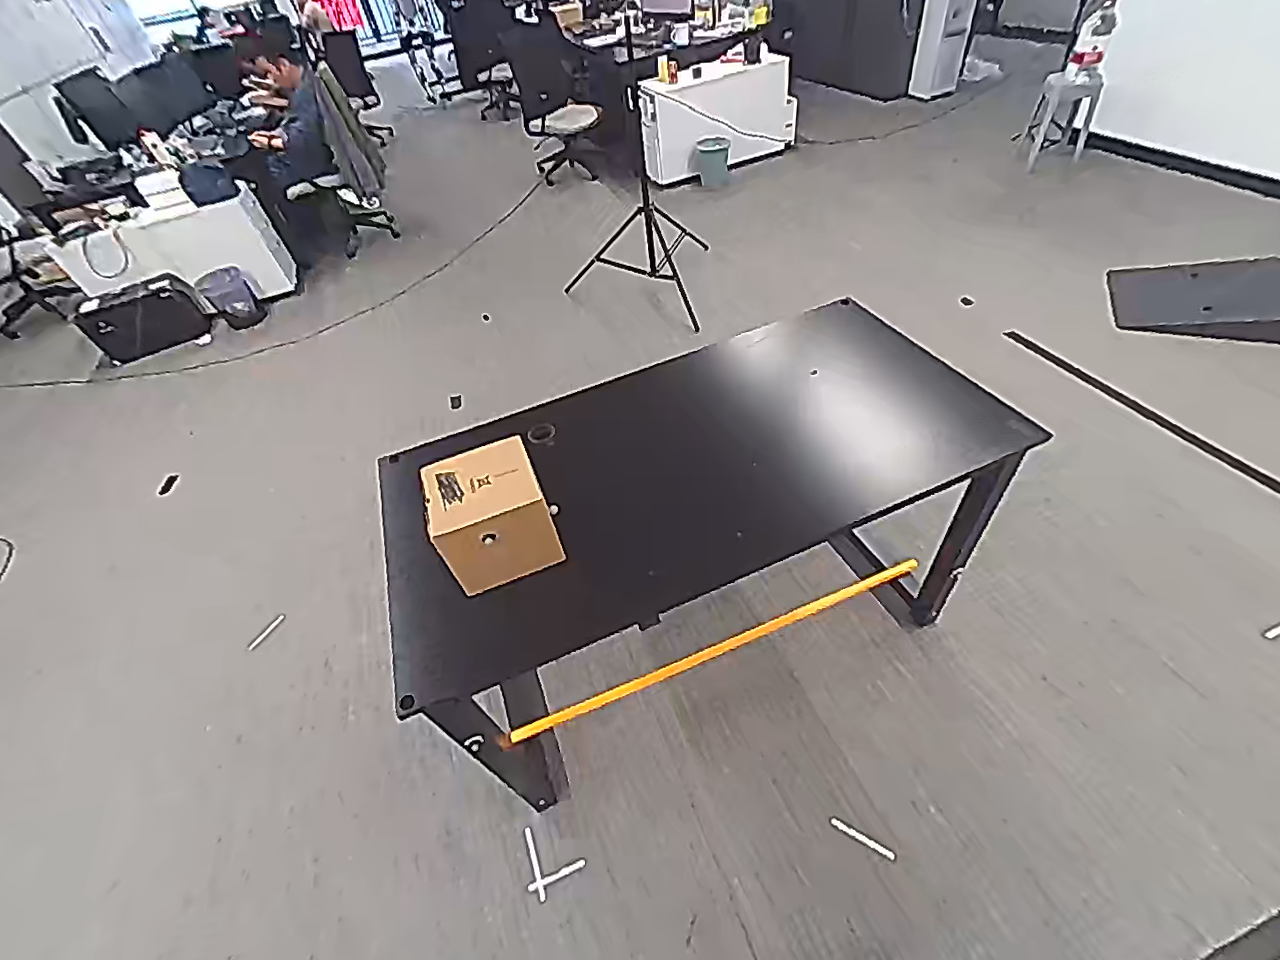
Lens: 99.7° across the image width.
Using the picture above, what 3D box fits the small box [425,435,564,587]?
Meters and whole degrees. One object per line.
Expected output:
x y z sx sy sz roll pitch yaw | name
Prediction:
-0.247 0.057 0.931 0.179 0.176 0.168 -20 48 -10 | small box
